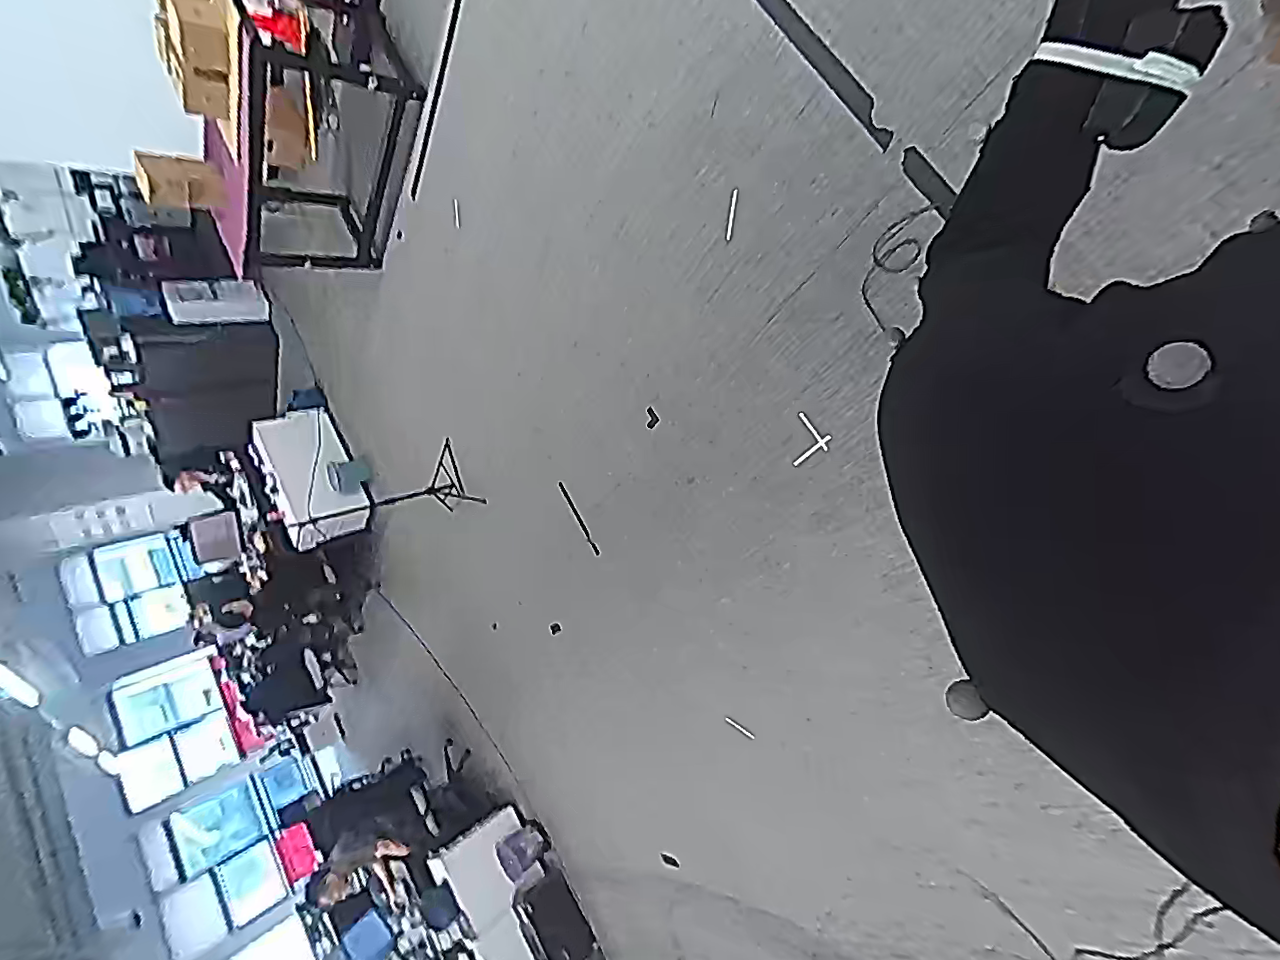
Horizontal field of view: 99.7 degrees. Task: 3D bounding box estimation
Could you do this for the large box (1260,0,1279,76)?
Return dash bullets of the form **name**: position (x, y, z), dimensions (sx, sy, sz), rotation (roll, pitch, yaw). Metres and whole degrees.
- **large box**: position (0.572, -0.349, 0.178), dimensions (0.408, 0.320, 0.320), rotation (34, 130, 35)
